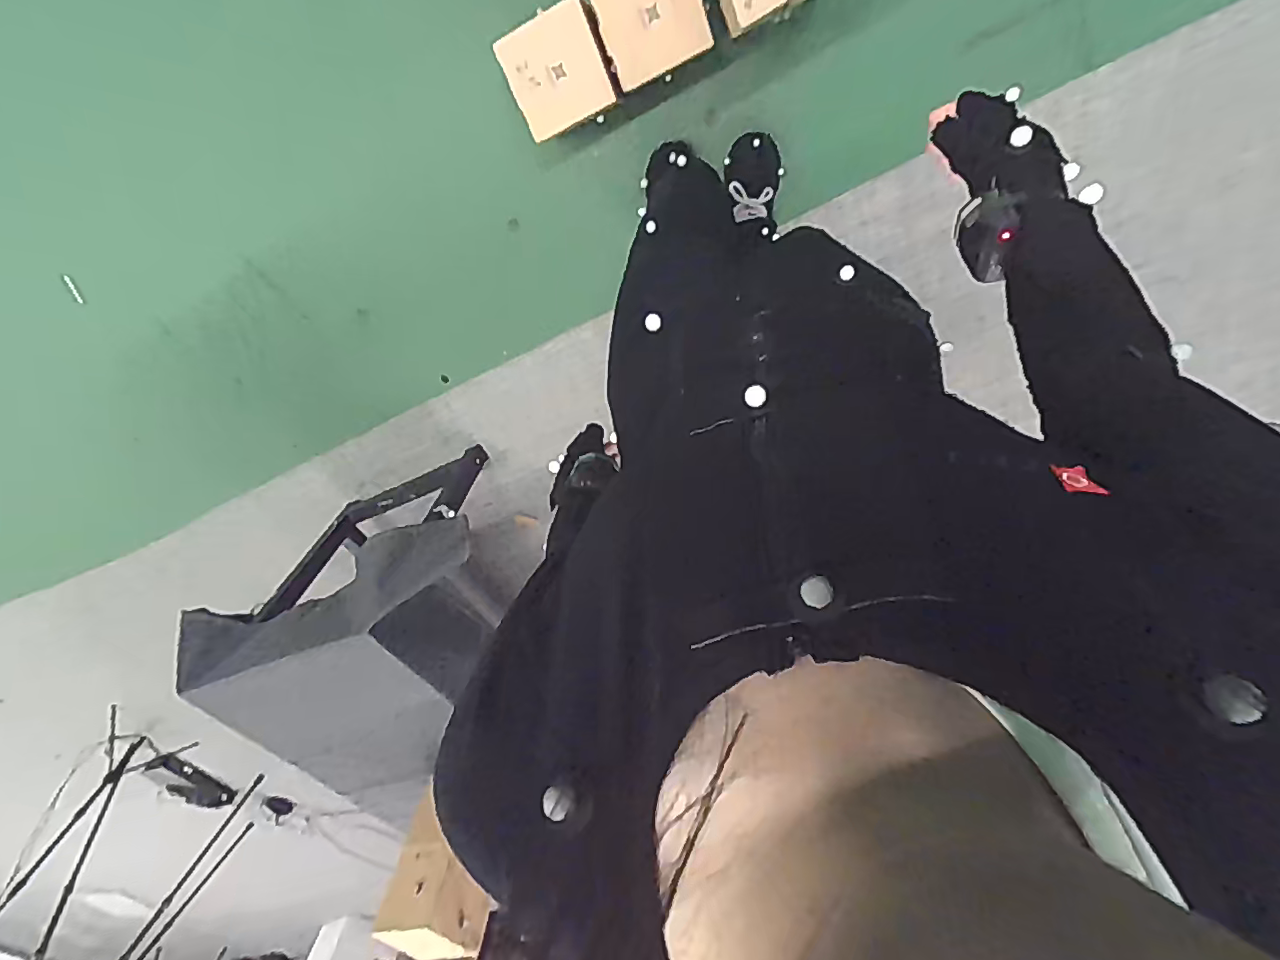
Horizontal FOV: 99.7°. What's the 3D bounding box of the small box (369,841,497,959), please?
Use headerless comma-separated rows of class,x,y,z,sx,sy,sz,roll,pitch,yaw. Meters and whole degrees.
small box,-0.453,0.935,1.212,0.168,0.176,0.179,-21,121,19

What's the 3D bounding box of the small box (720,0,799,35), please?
small box,0.197,-0.805,0.801,0.179,0.176,0.168,-20,121,18
